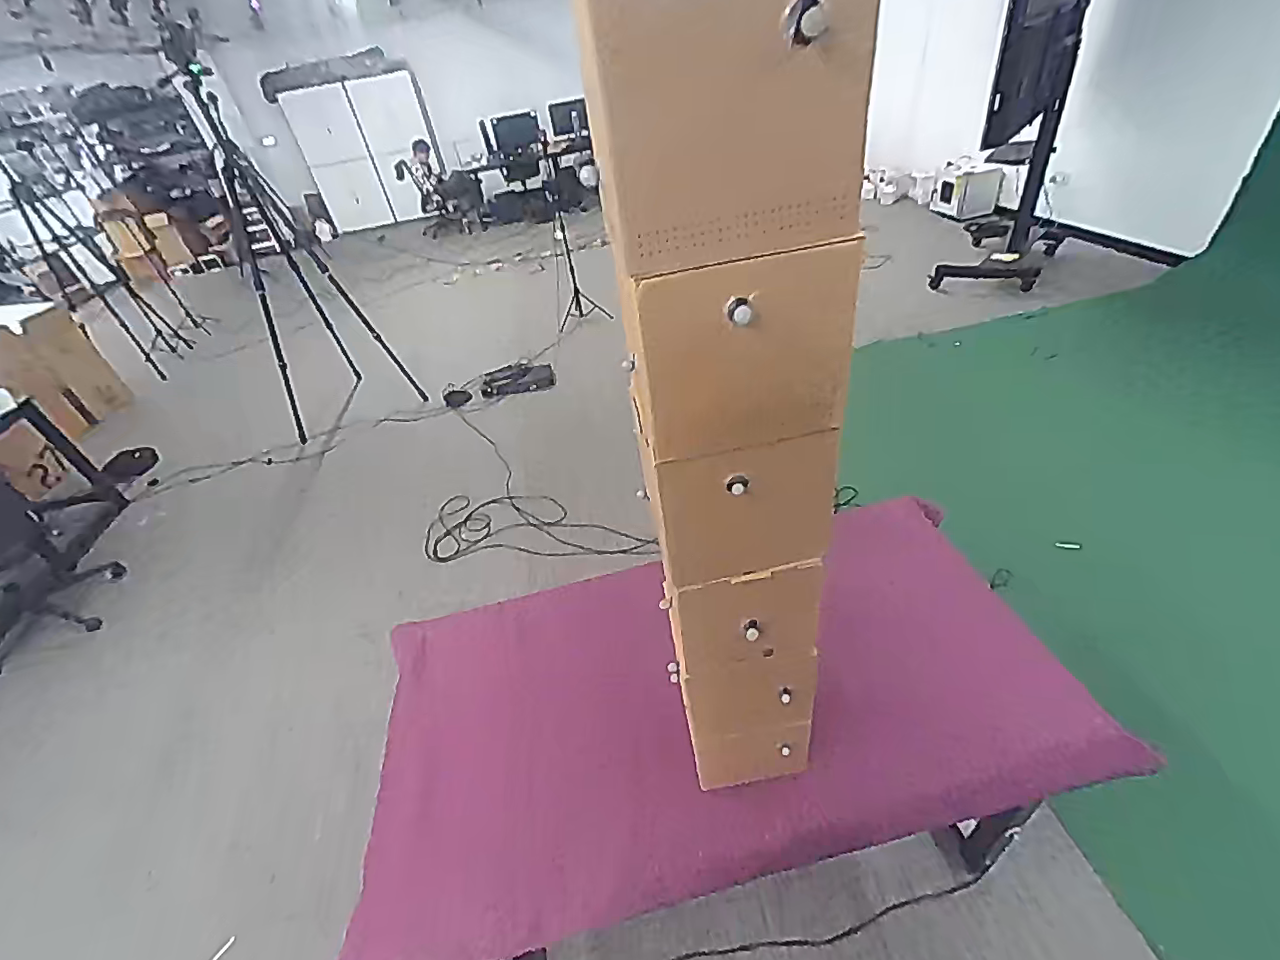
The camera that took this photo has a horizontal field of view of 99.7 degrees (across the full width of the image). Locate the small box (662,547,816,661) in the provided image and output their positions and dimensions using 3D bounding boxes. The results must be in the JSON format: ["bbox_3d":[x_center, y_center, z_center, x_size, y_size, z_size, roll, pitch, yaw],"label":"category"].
[{"bbox_3d":[0.116,0.114,0.699,0.168,0.176,0.179,-10,38,-1],"label":"small box"}]

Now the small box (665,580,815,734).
[{"bbox_3d":[0.139,0.245,0.793,0.179,0.176,0.168,-11,38,0],"label":"small box"}]

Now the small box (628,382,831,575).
[{"bbox_3d":[0.093,-0.016,0.601,0.179,0.176,0.168,-11,37,-2],"label":"small box"}]

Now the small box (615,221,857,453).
[{"bbox_3d":[0.076,-0.146,0.505,0.179,0.176,0.168,-12,37,-1],"label":"small box"}]

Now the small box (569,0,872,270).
[{"bbox_3d":[0.049,-0.277,0.409,0.179,0.176,0.168,-11,37,-1],"label":"small box"}]
